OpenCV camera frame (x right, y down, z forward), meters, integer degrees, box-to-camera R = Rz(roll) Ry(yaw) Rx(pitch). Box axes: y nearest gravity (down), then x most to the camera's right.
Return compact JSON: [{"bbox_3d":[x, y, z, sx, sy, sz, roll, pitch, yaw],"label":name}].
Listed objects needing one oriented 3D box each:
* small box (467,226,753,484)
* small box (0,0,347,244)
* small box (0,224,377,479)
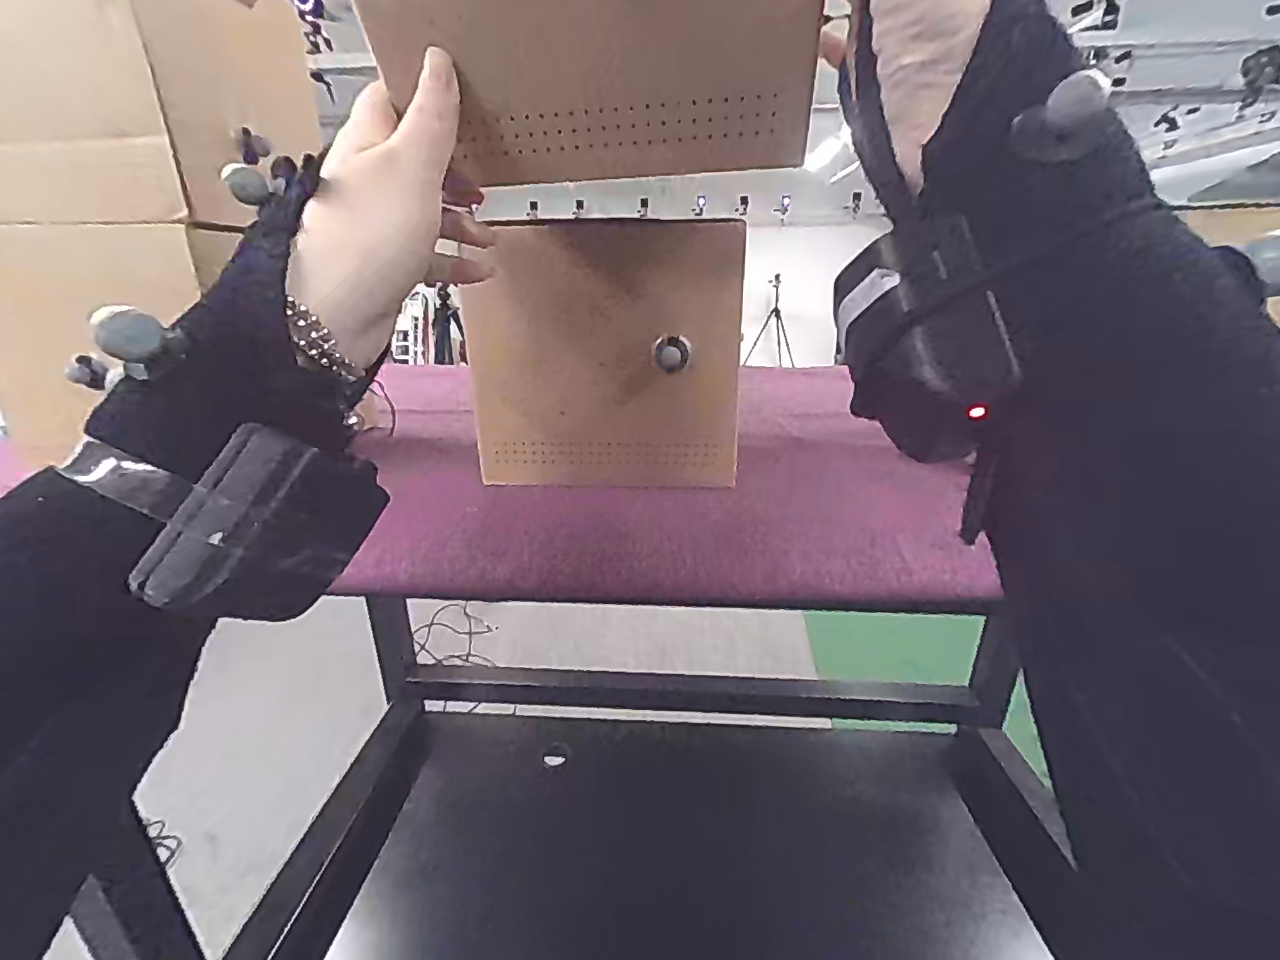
[{"bbox_3d":[-0.015,-0.099,0.426,0.179,0.176,0.168,0,19,3],"label":"small box"},{"bbox_3d":[-0.341,-0.257,0.379,0.179,0.176,0.168,1,20,0],"label":"small box"},{"bbox_3d":[-0.336,-0.105,0.435,0.168,0.176,0.179,2,20,2],"label":"small box"}]
